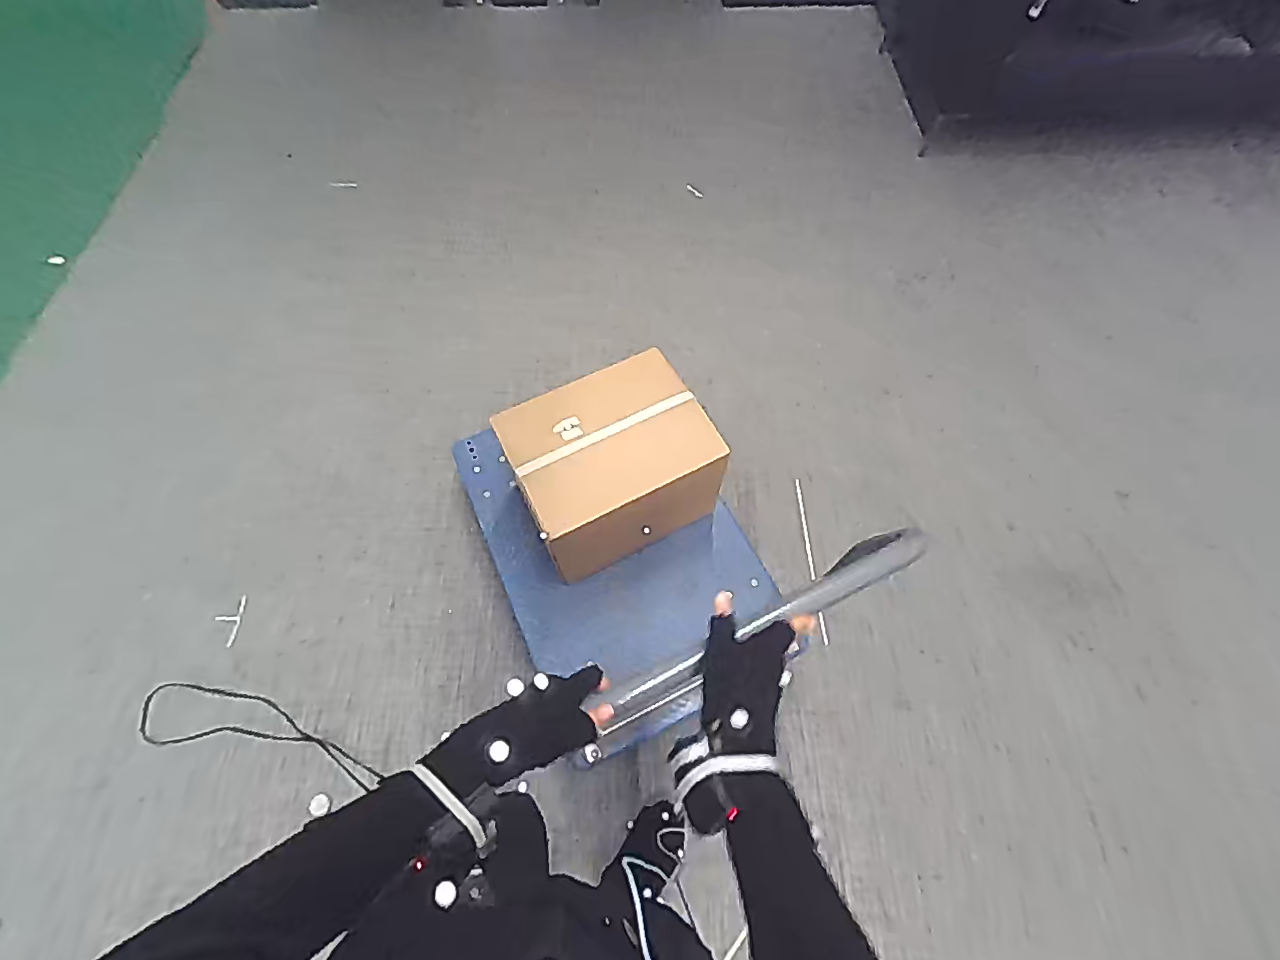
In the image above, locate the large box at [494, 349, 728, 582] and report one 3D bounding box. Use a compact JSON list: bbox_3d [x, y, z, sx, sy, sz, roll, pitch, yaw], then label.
[{"bbox_3d":[-0.058,-0.024,1.245,0.408,0.320,0.320,-27,65,-11],"label":"large box"}]
